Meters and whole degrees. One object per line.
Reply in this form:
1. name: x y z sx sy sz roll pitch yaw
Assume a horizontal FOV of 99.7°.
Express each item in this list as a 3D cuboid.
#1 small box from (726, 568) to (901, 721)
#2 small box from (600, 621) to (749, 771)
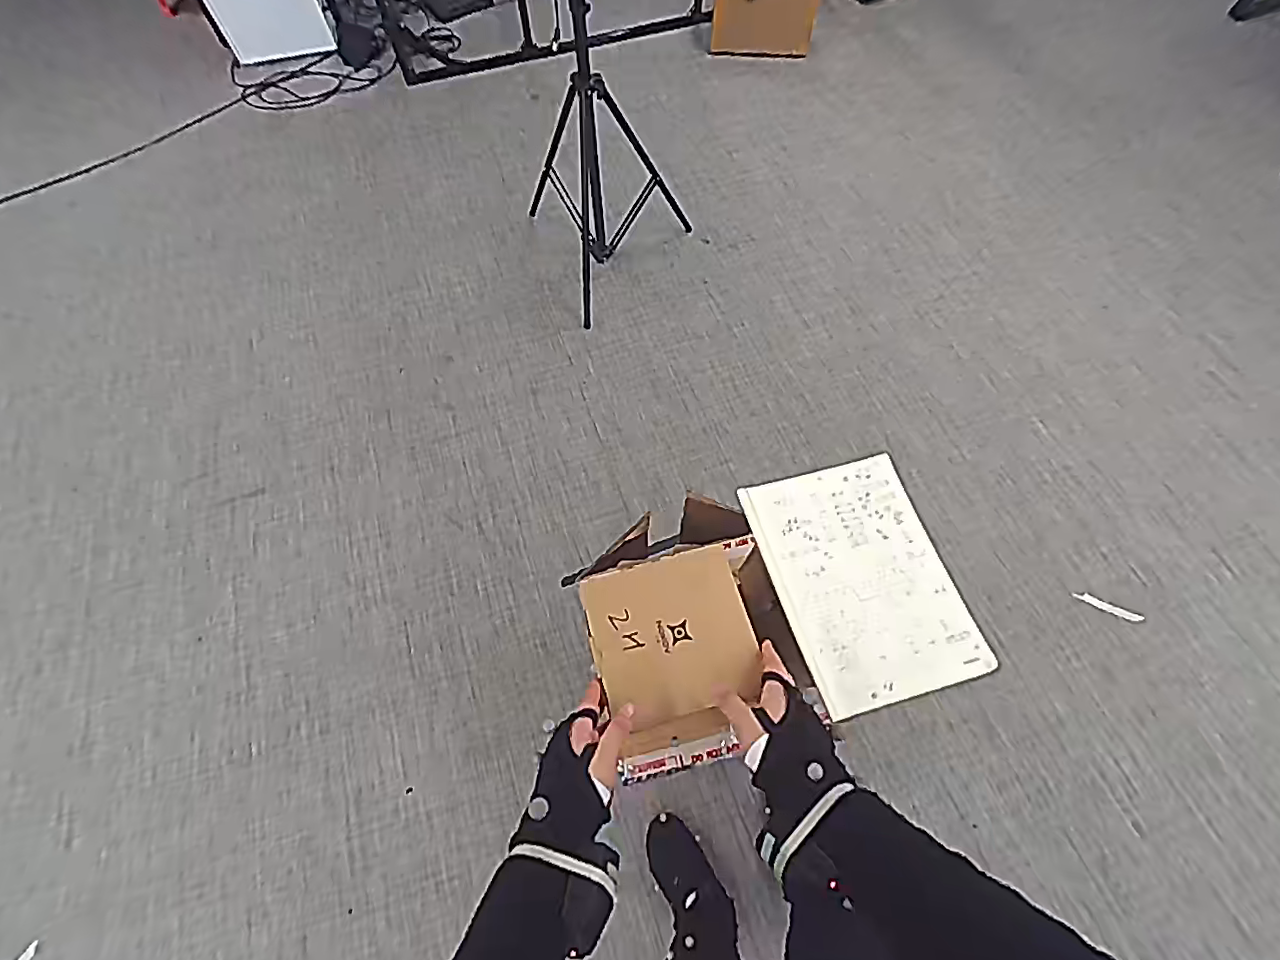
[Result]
1. small box: 0.250 0.256 0.830 0.179 0.176 0.168 -18 66 -9
2. small box: 0.044 0.317 0.802 0.179 0.176 0.168 -11 66 -3
